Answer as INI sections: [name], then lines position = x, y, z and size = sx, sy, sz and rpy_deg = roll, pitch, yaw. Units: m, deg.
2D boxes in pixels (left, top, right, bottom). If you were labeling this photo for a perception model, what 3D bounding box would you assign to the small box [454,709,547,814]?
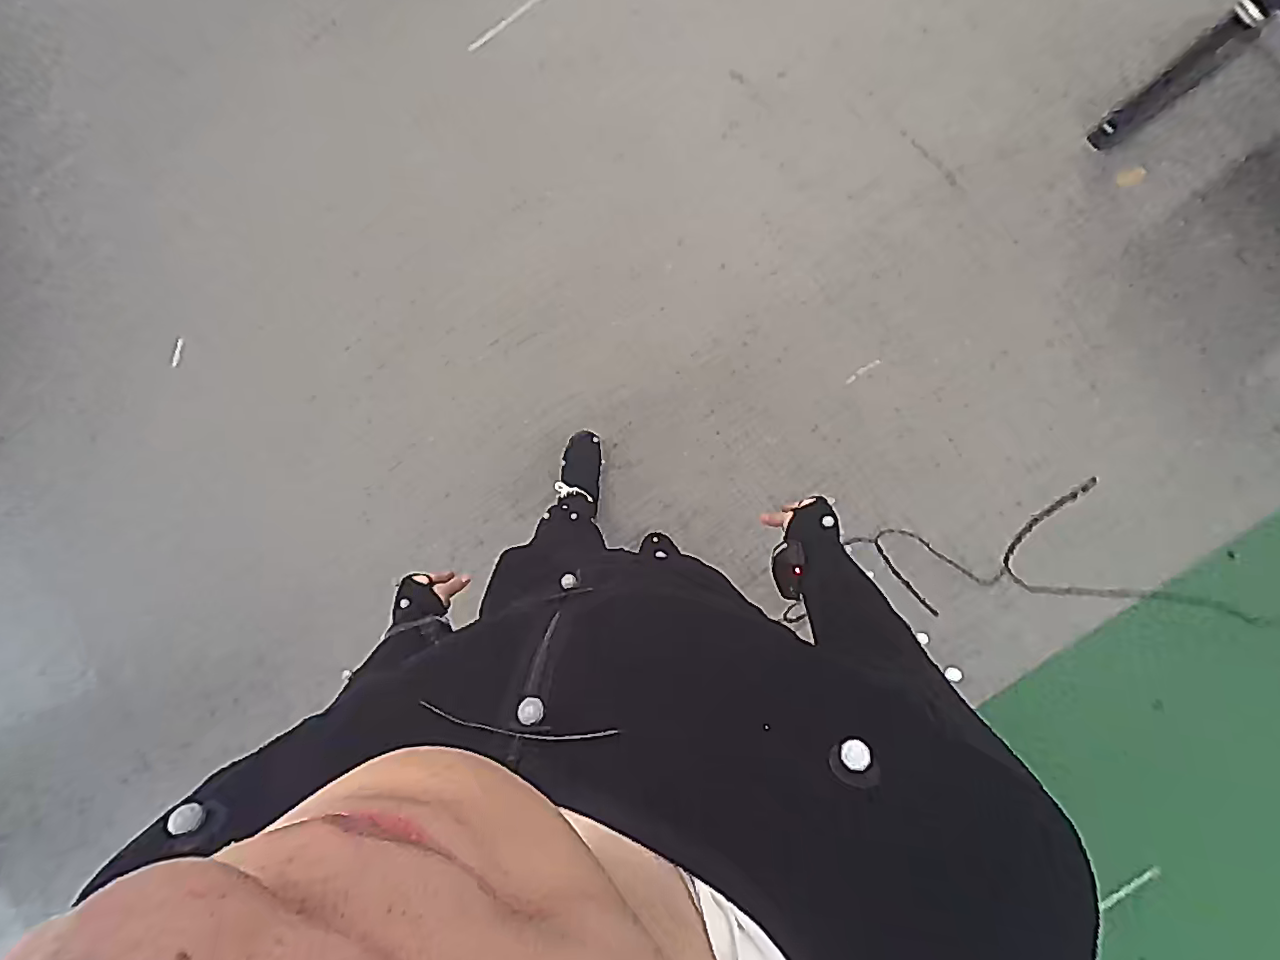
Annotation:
[small box]
position = -0.394, 0.804, 1.561
size = 0.168, 0.176, 0.179
rpy_deg = -37, 86, 2
